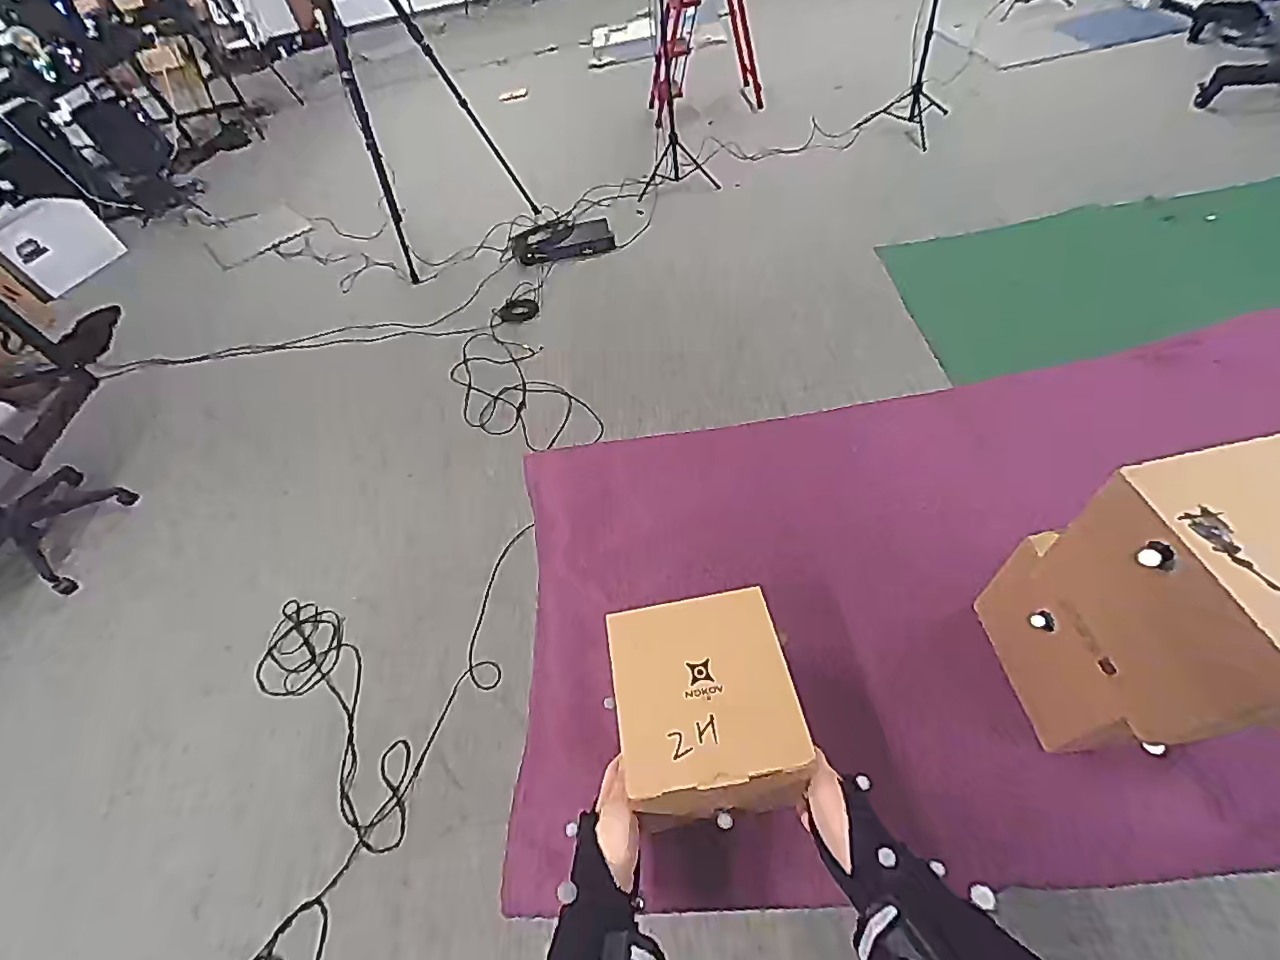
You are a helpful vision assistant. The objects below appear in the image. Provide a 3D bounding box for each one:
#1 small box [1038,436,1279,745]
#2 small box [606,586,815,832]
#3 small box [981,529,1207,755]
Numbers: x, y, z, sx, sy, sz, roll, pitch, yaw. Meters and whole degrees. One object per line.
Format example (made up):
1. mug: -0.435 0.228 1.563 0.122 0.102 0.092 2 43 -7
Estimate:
1. small box: 0.460 0.084 0.408 0.179 0.176 0.168 -11 51 2
2. small box: 0.063 0.237 0.558 0.168 0.176 0.179 -11 49 0
3. small box: 0.490 0.162 0.552 0.168 0.176 0.179 -9 51 5
